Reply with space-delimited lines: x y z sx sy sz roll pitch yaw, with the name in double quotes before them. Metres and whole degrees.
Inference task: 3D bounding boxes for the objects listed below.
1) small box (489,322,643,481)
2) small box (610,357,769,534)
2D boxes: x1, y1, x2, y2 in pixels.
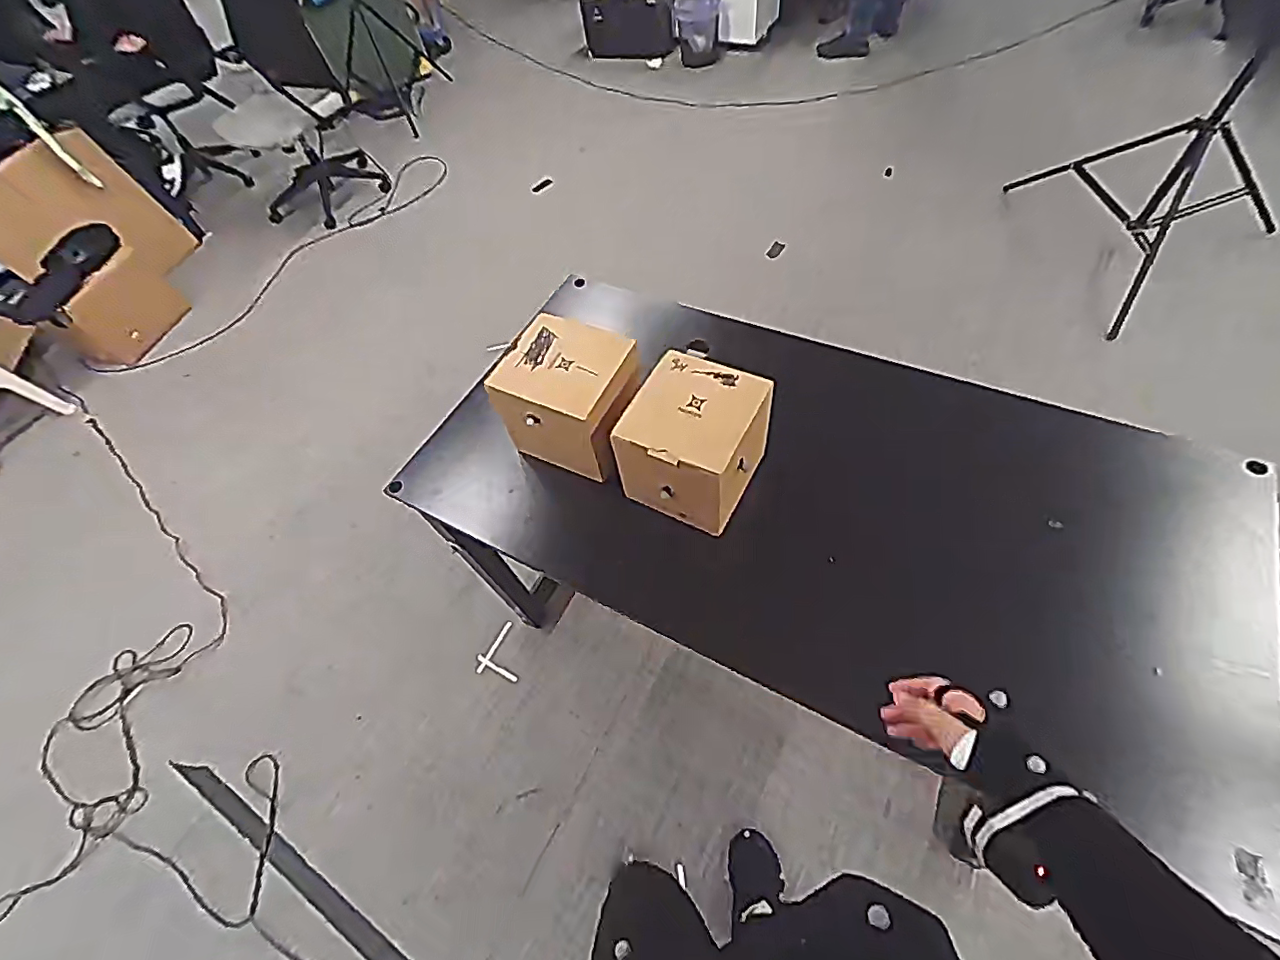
"small box" -0.108 -0.123 0.880 0.179 0.176 0.168 21 63 18
"small box" 0.080 -0.046 0.808 0.168 0.176 0.179 23 64 20
